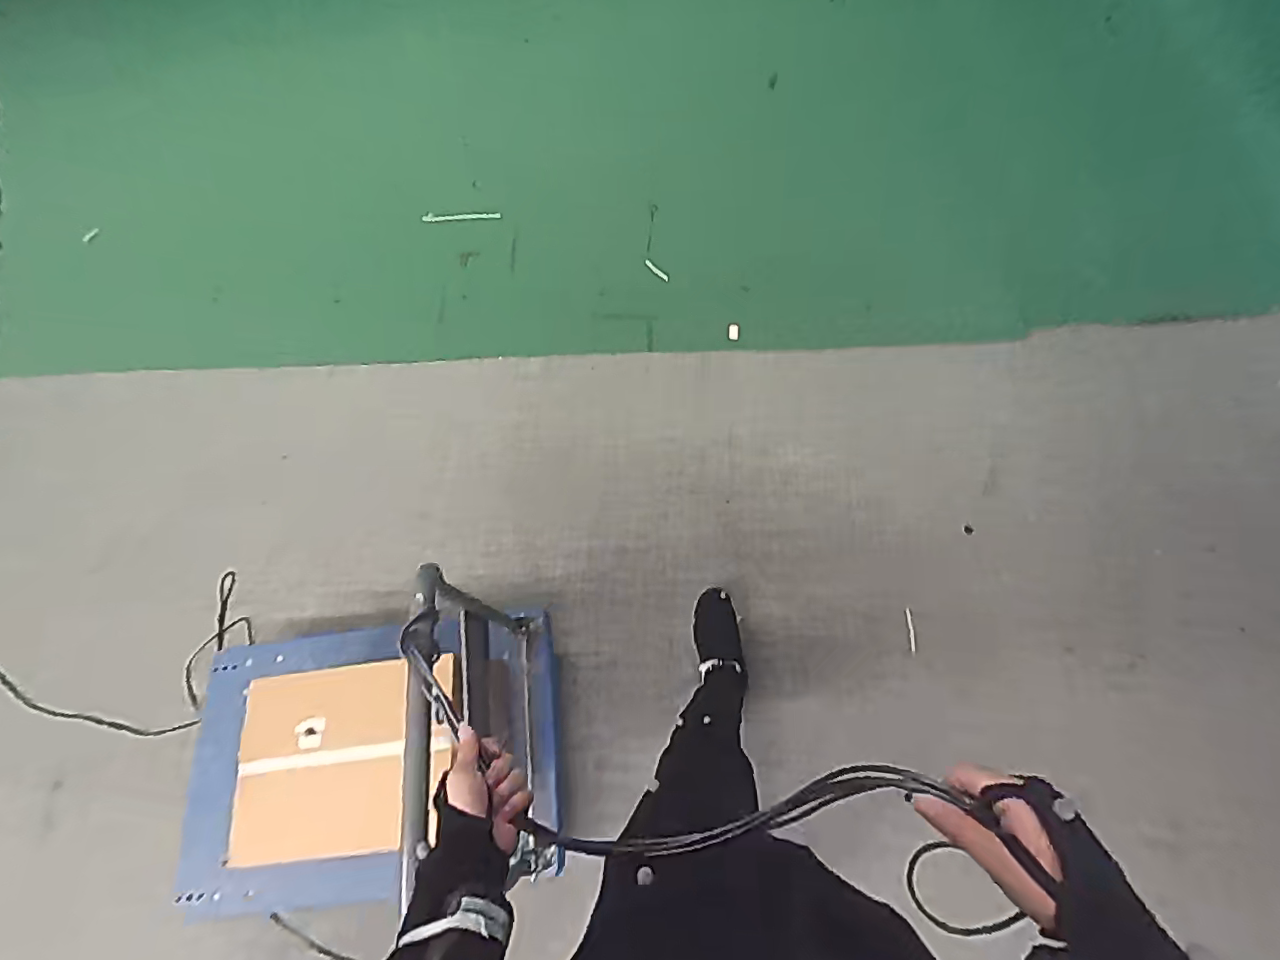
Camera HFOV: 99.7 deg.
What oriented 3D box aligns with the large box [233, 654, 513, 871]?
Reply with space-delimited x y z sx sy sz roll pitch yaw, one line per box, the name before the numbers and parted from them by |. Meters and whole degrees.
large box | -0.508 0.551 1.110 0.408 0.320 0.320 -9 68 4
